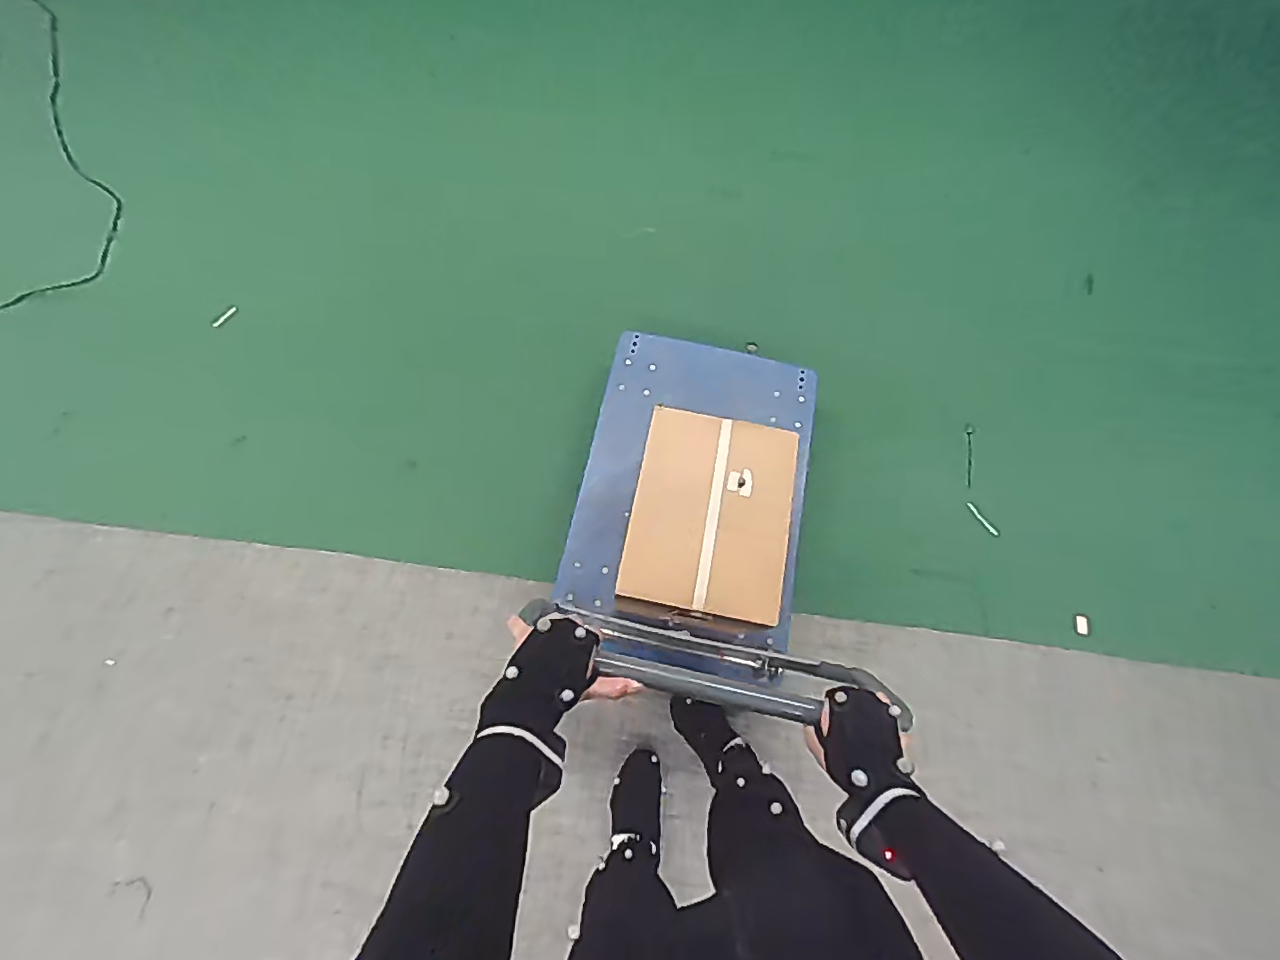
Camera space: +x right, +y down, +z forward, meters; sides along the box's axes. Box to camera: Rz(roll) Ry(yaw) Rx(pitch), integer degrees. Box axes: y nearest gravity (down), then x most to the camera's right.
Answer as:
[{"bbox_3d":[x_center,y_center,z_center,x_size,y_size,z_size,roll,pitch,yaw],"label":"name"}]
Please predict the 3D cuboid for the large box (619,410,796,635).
[{"bbox_3d":[0.139,0.112,1.215,0.320,0.320,0.408,12,71,1],"label":"large box"}]
